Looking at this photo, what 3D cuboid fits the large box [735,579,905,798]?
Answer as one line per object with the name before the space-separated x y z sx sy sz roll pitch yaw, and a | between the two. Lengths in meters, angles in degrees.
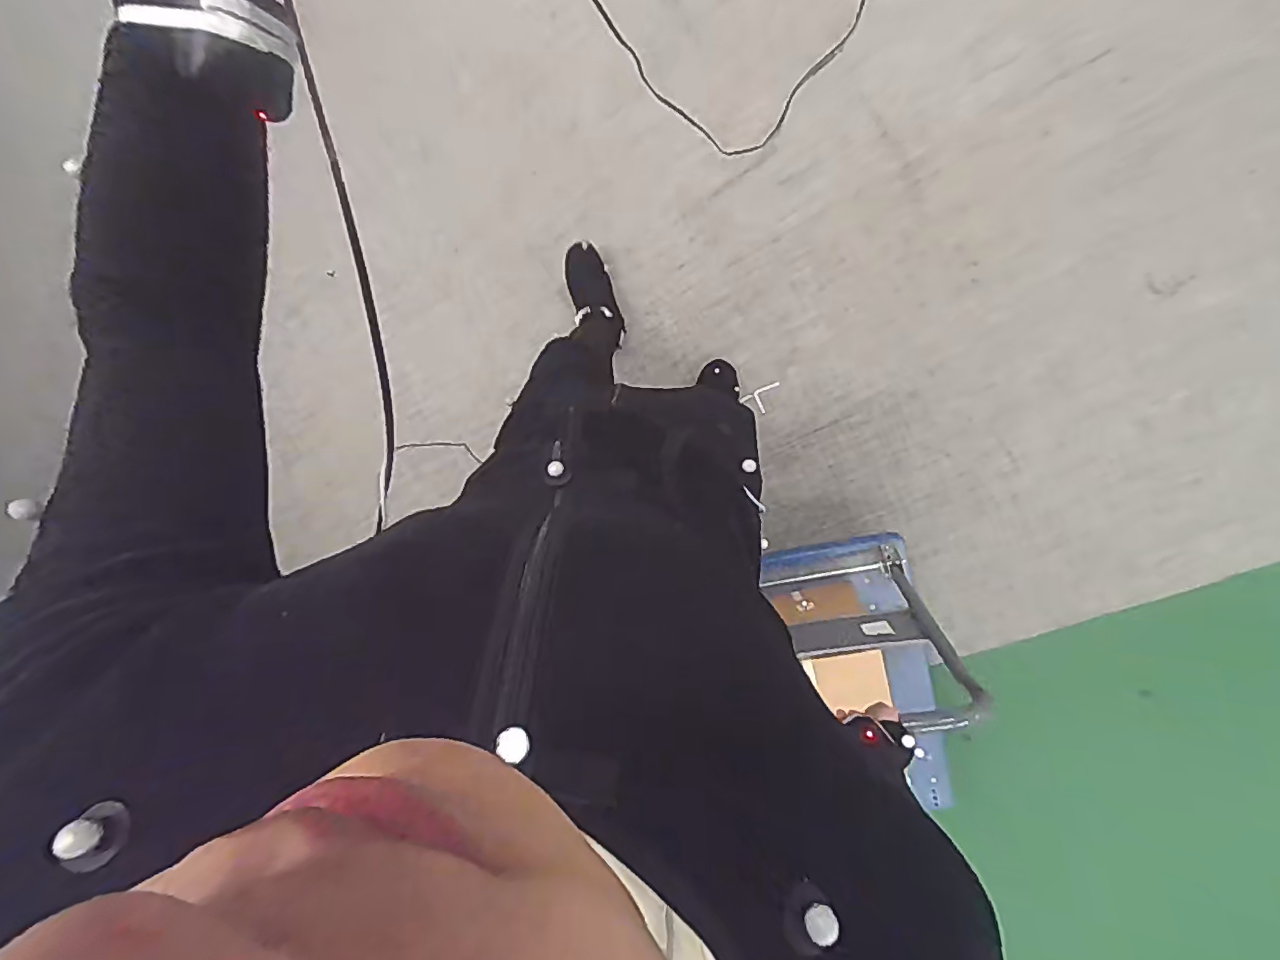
large box | 0.440 0.520 1.386 0.320 0.320 0.408 -13 104 14
